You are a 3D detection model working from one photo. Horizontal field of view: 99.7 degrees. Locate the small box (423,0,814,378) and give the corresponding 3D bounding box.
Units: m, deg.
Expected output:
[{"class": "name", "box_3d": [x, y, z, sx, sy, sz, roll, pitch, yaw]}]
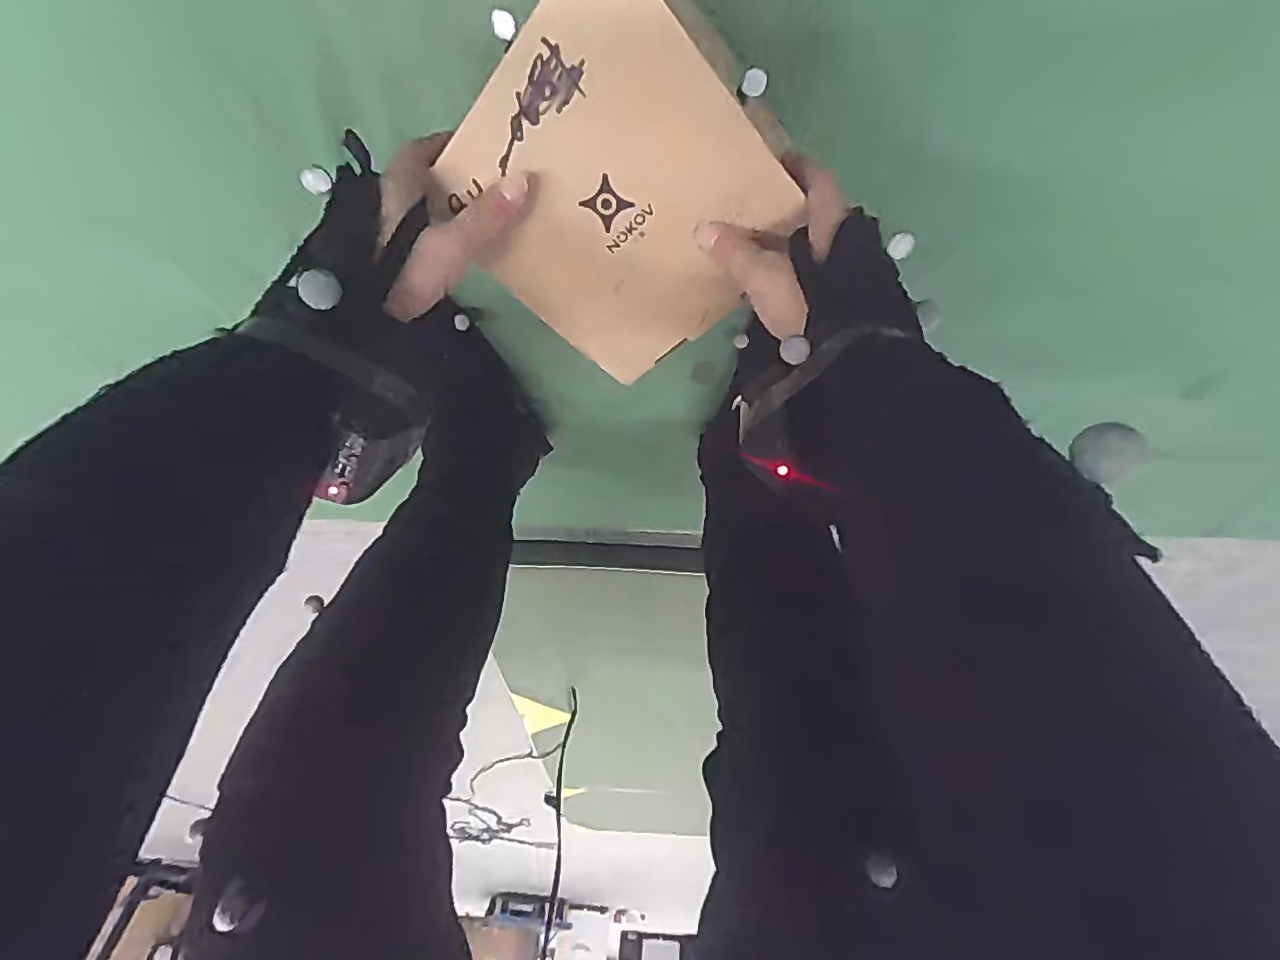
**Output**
[{"class": "small box", "box_3d": [-0.007, -0.213, 0.372, 0.179, 0.176, 0.168, 36, 128, -29]}]
